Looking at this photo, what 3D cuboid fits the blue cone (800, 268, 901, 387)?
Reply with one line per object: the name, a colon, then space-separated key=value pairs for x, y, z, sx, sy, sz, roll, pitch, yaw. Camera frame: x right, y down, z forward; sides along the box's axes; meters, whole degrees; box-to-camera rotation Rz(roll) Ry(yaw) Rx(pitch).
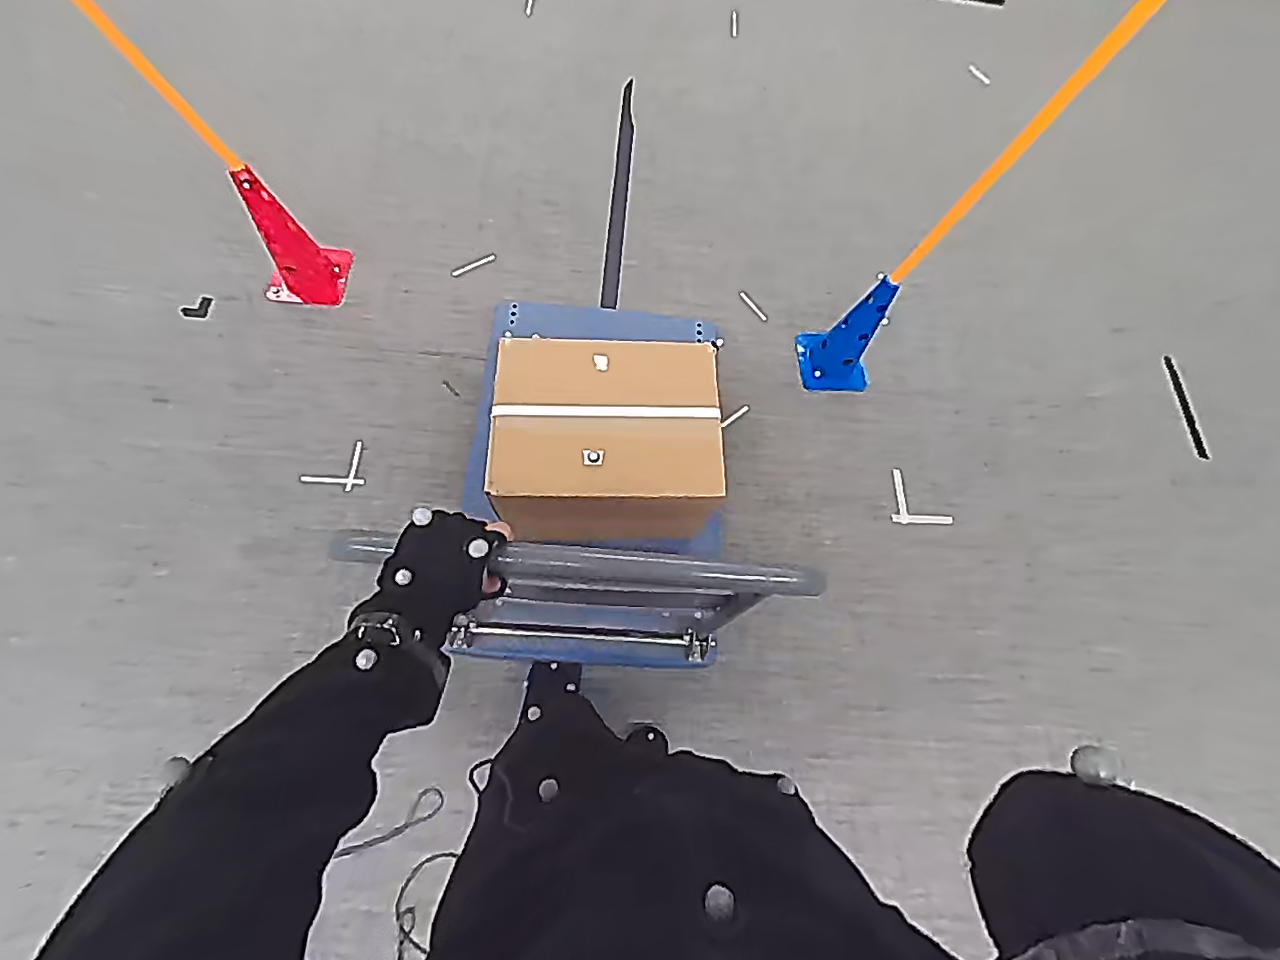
blue cone: x=0.598 y=-0.422 z=1.473 sx=0.193 sy=0.380 sz=0.192 roll=1 pitch=69 yaw=-6
